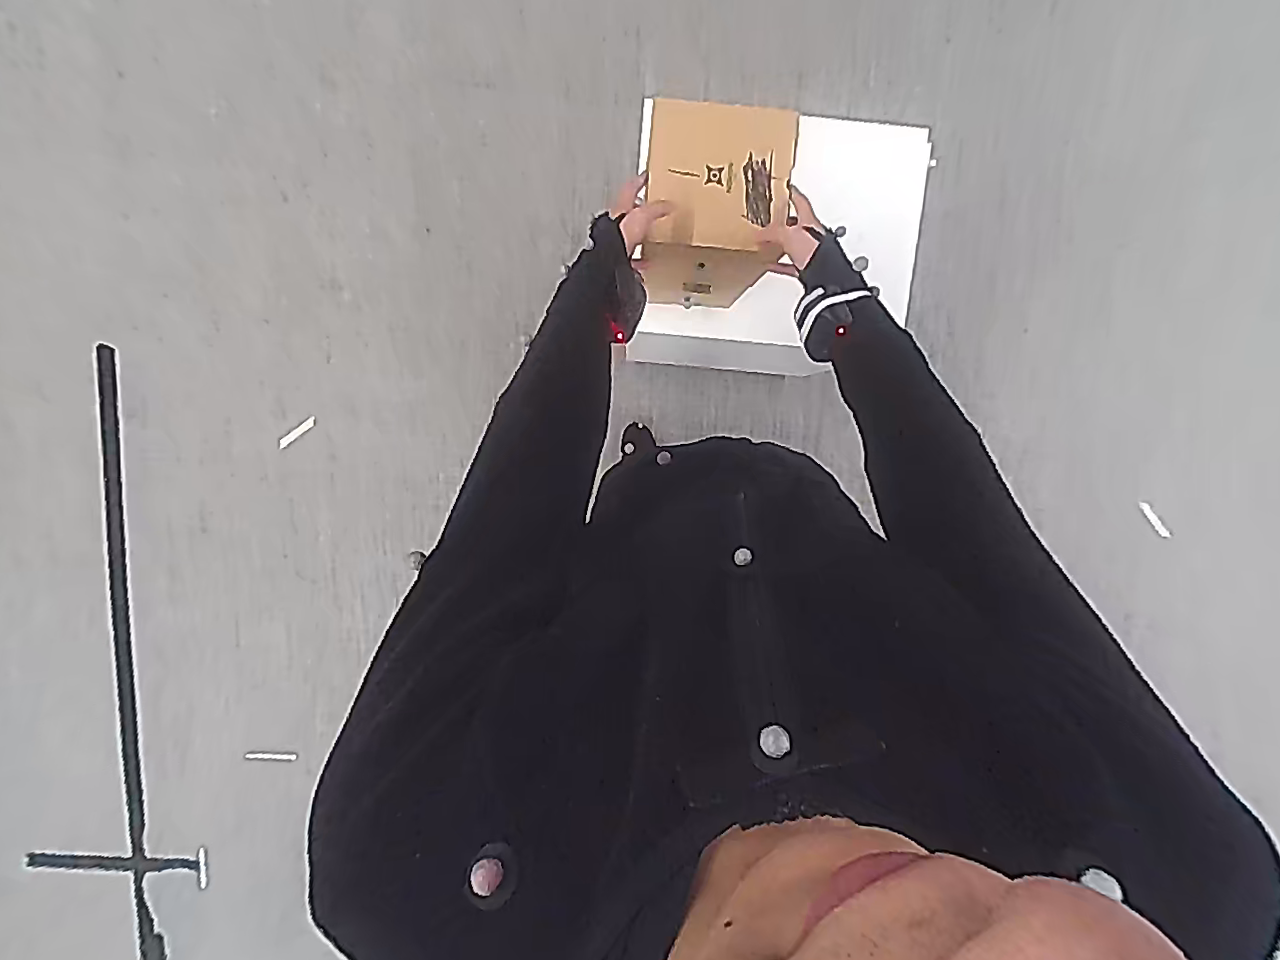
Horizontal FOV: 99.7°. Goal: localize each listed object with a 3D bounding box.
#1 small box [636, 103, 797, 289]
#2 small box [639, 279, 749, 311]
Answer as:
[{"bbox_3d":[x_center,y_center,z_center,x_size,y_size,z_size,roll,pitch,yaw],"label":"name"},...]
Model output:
[{"bbox_3d":[0.089,-0.360,0.718,0.179,0.176,0.168,4,96,-1],"label":"small box"},{"bbox_3d":[0.087,-0.386,0.881,0.168,0.176,0.179,4,97,-2],"label":"small box"}]
